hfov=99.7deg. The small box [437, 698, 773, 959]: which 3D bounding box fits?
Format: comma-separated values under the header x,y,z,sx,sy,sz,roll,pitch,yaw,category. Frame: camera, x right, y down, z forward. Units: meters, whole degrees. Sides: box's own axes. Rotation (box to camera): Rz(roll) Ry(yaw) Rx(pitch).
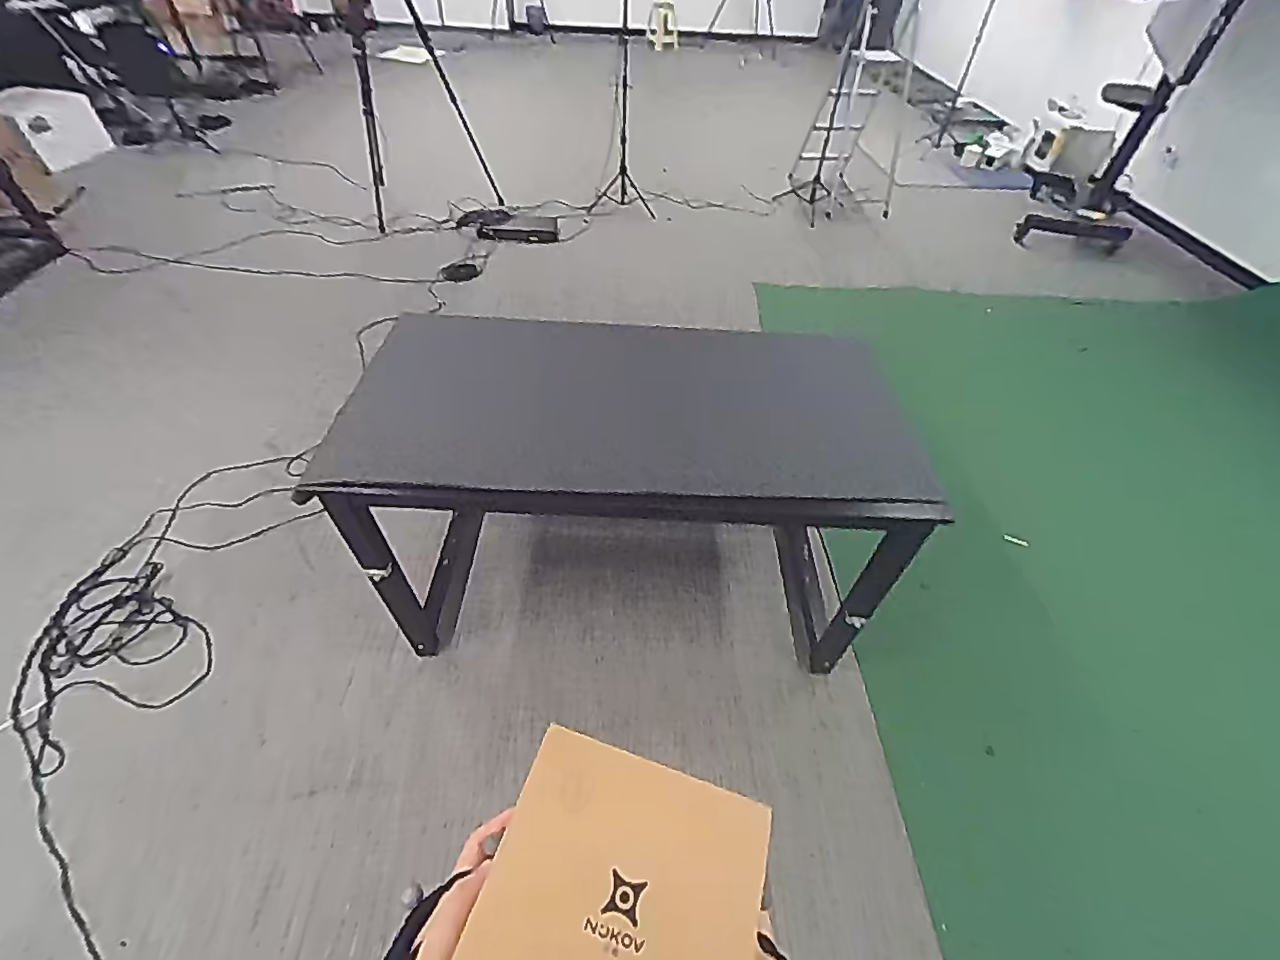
x,y,z,sx,sy,sz,roll,pitch,yaw,category
-0.022,0.291,0.376,0.168,0.176,0.179,18,47,7,small box
